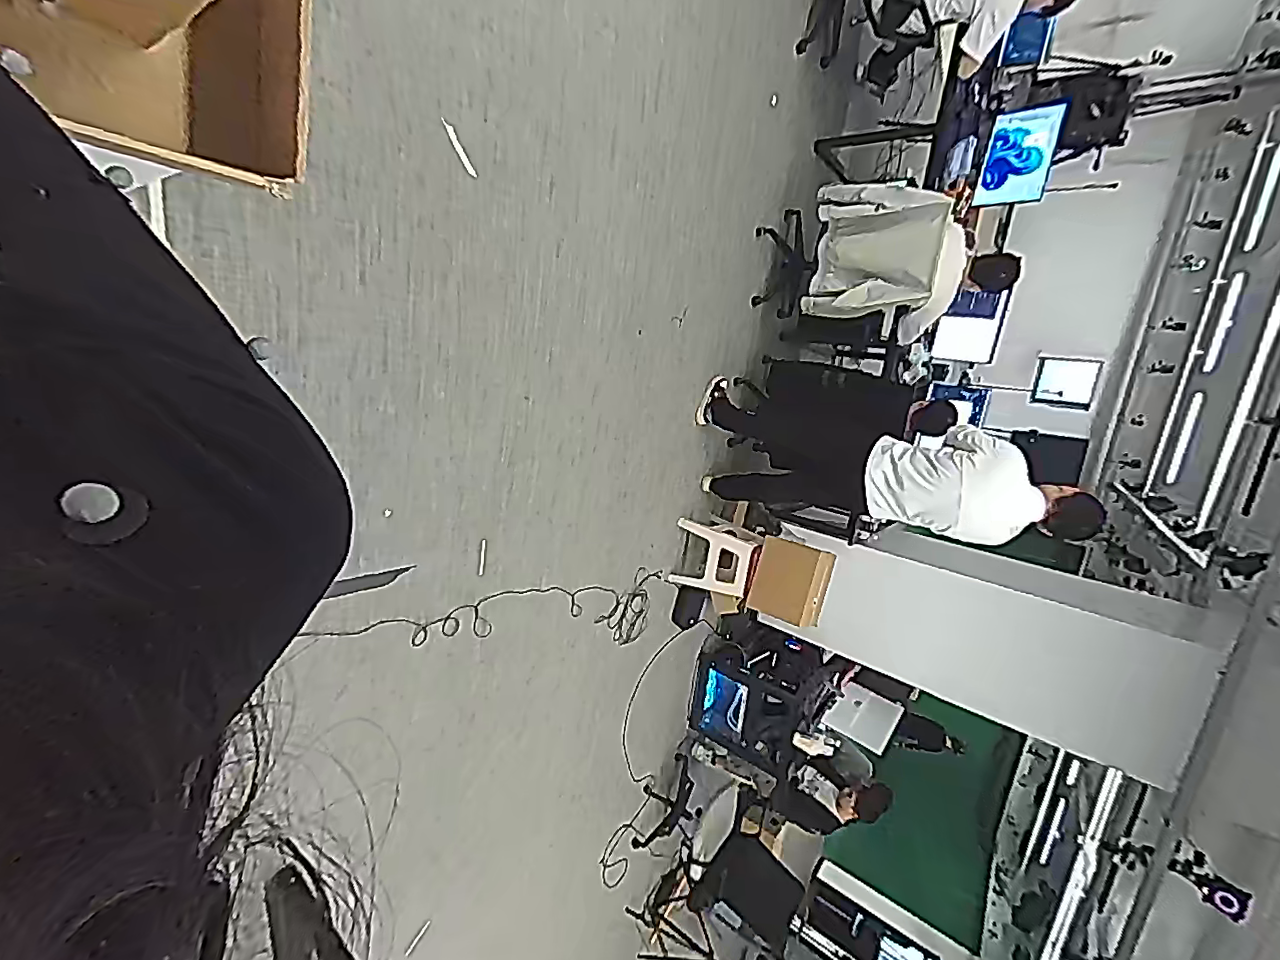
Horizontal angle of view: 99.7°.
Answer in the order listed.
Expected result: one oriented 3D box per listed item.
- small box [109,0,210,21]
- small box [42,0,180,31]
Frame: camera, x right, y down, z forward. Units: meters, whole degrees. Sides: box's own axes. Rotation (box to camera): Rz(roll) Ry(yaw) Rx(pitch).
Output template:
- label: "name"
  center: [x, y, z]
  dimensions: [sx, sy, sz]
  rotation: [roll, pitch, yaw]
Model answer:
- label: "small box"
  center: [-0.434, -0.496, 0.402]
  dimensions: [0.168, 0.176, 0.179]
  rotation: [-6, 114, -49]
- label: "small box"
  center: [-0.554, -0.555, 0.497]
  dimensions: [0.179, 0.176, 0.168]
  rotation: [-6, 113, -51]
